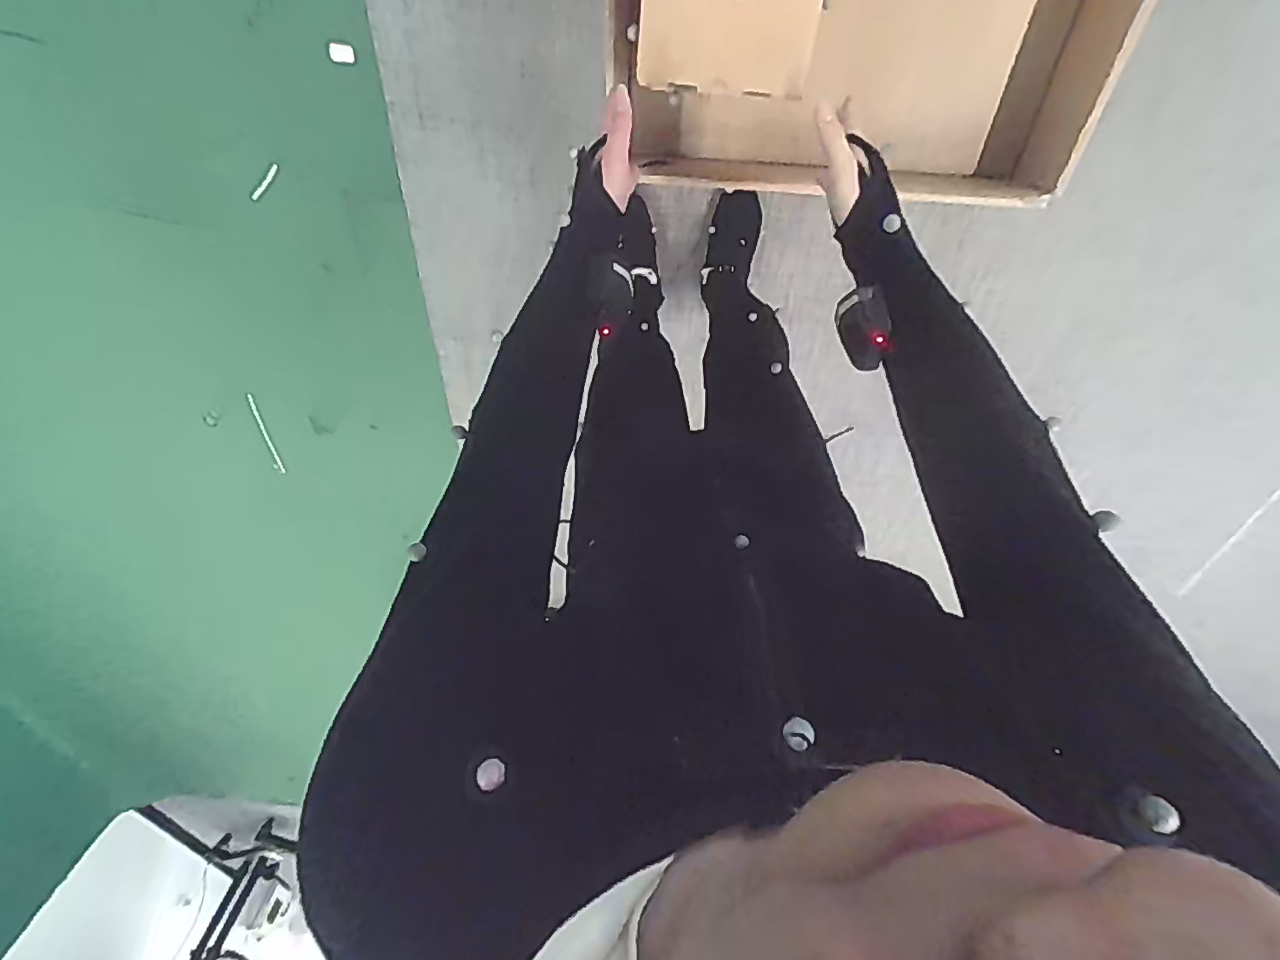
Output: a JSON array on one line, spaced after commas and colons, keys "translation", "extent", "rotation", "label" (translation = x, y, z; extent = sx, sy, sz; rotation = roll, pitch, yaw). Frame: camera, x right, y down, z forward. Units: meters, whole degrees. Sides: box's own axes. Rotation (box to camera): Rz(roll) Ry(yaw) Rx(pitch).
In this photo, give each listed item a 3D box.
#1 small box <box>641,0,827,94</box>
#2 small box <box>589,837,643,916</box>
[{"translation": [0.094, -0.502, 0.539], "extent": [0.168, 0.176, 0.179], "rotation": [7, 128, 1], "label": "small box"}, {"translation": [-0.076, 1.335, 1.820], "extent": [0.168, 0.176, 0.179], "rotation": [2, 128, 3], "label": "small box"}]
